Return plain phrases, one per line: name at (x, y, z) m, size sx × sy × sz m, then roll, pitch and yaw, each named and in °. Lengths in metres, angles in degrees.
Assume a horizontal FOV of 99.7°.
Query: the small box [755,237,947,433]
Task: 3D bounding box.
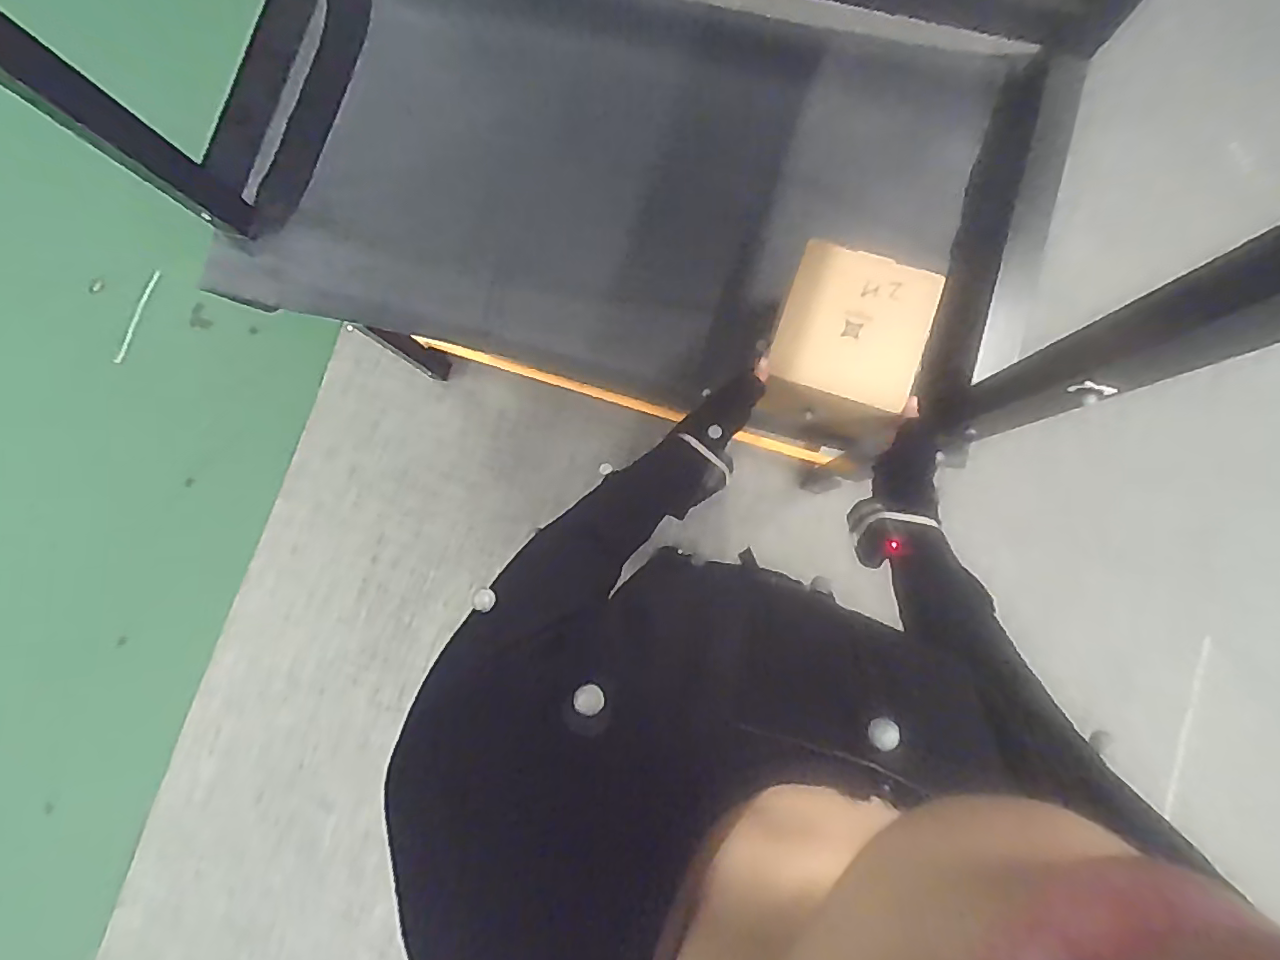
small box at (0.256, -0.174, 0.704) m, size 0.168 × 0.176 × 0.179 m, roll 19°, pitch 86°, yaw 6°
